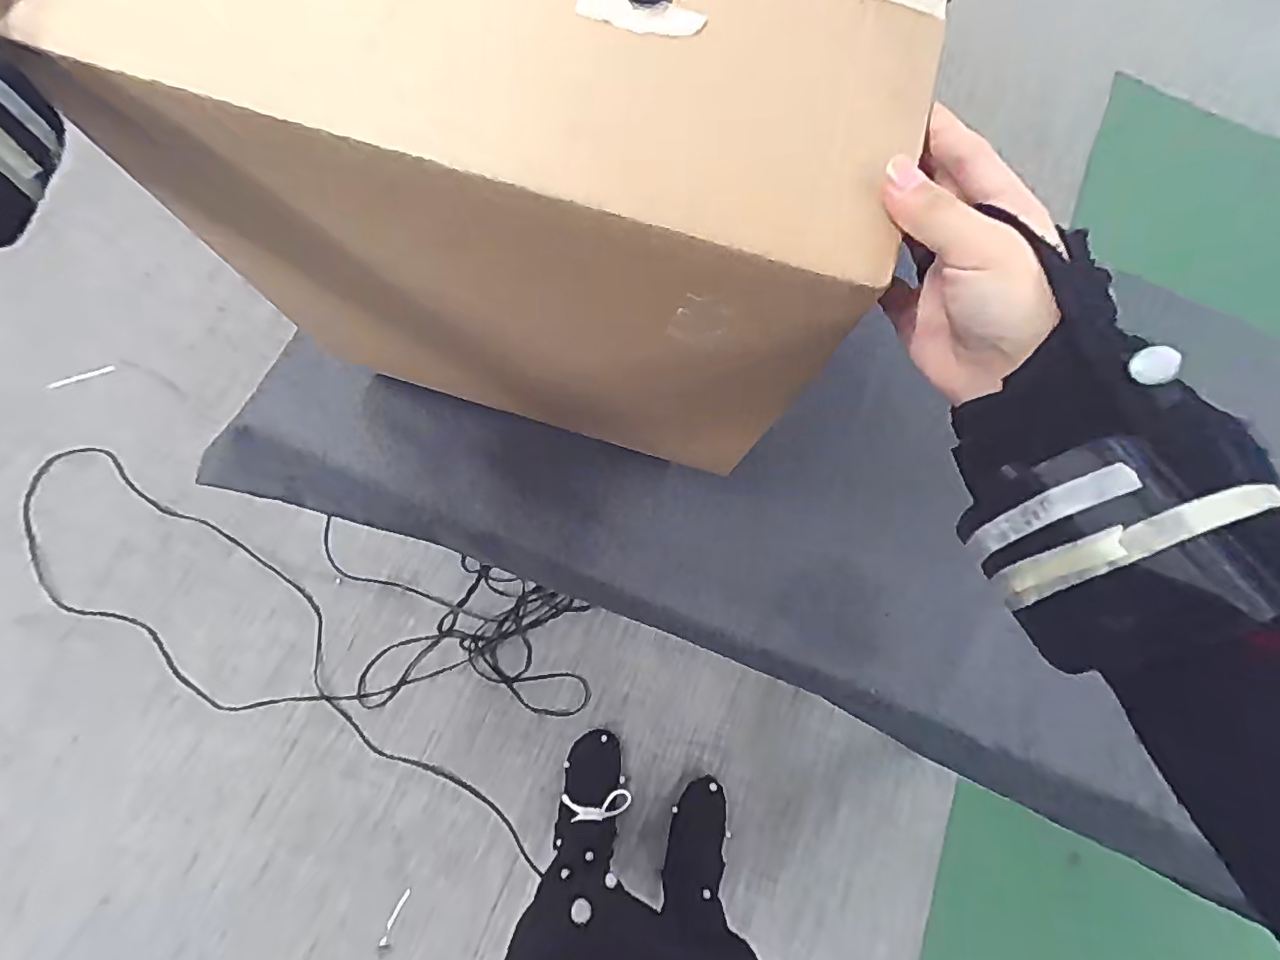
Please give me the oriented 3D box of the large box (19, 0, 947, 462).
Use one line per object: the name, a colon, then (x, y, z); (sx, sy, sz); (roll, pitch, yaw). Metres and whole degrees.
large box: (-0.052, -0.243, 0.415); (0.408, 0.320, 0.320); (16, 76, -1)
